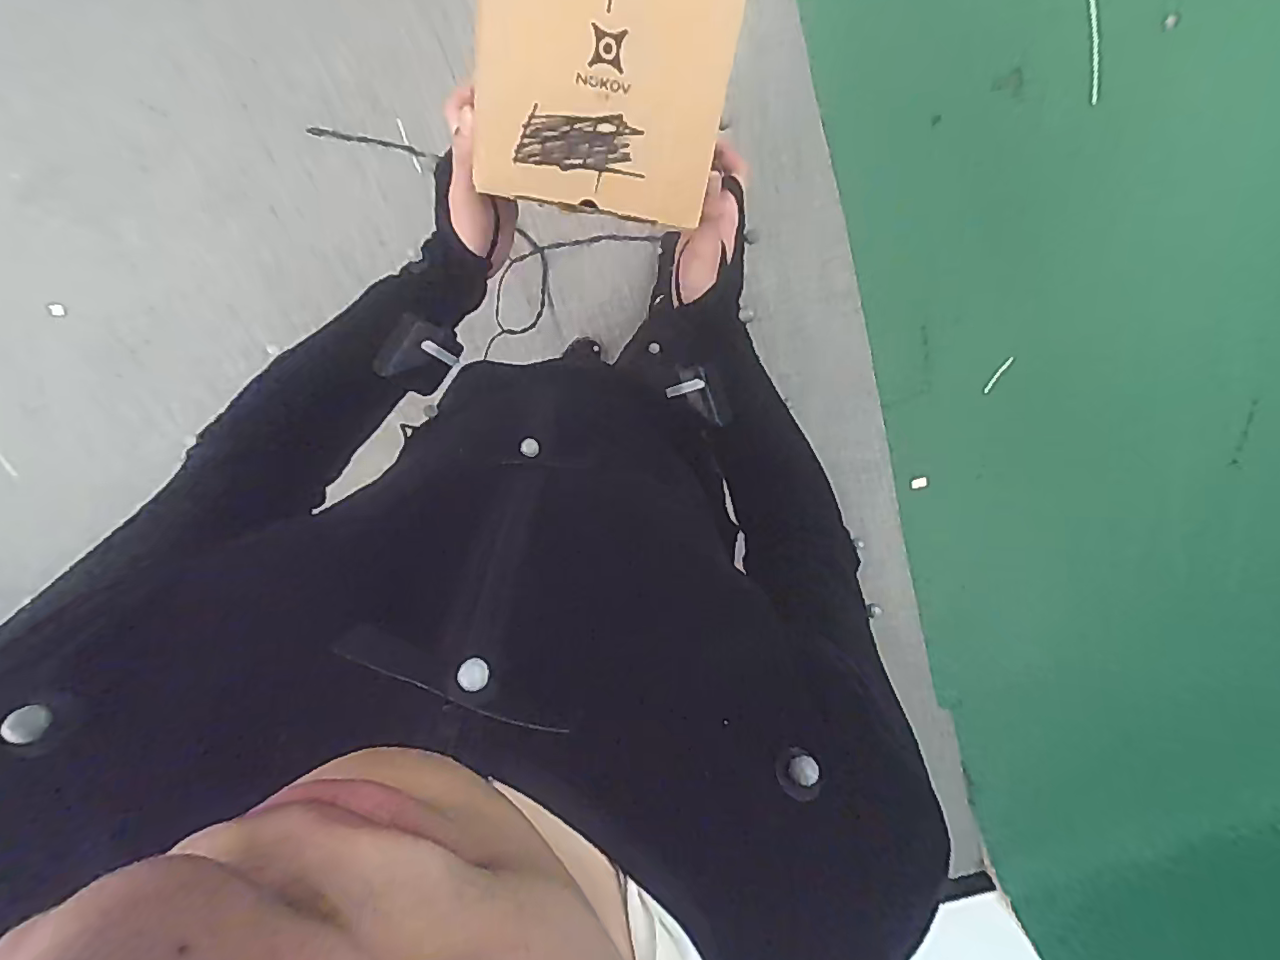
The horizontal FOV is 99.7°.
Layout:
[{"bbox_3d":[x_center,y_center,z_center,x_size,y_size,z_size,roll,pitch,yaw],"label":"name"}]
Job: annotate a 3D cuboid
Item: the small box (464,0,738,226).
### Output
[{"bbox_3d":[-0.028,-0.307,0.409,0.168,0.176,0.179,7,119,-6],"label":"small box"}]
